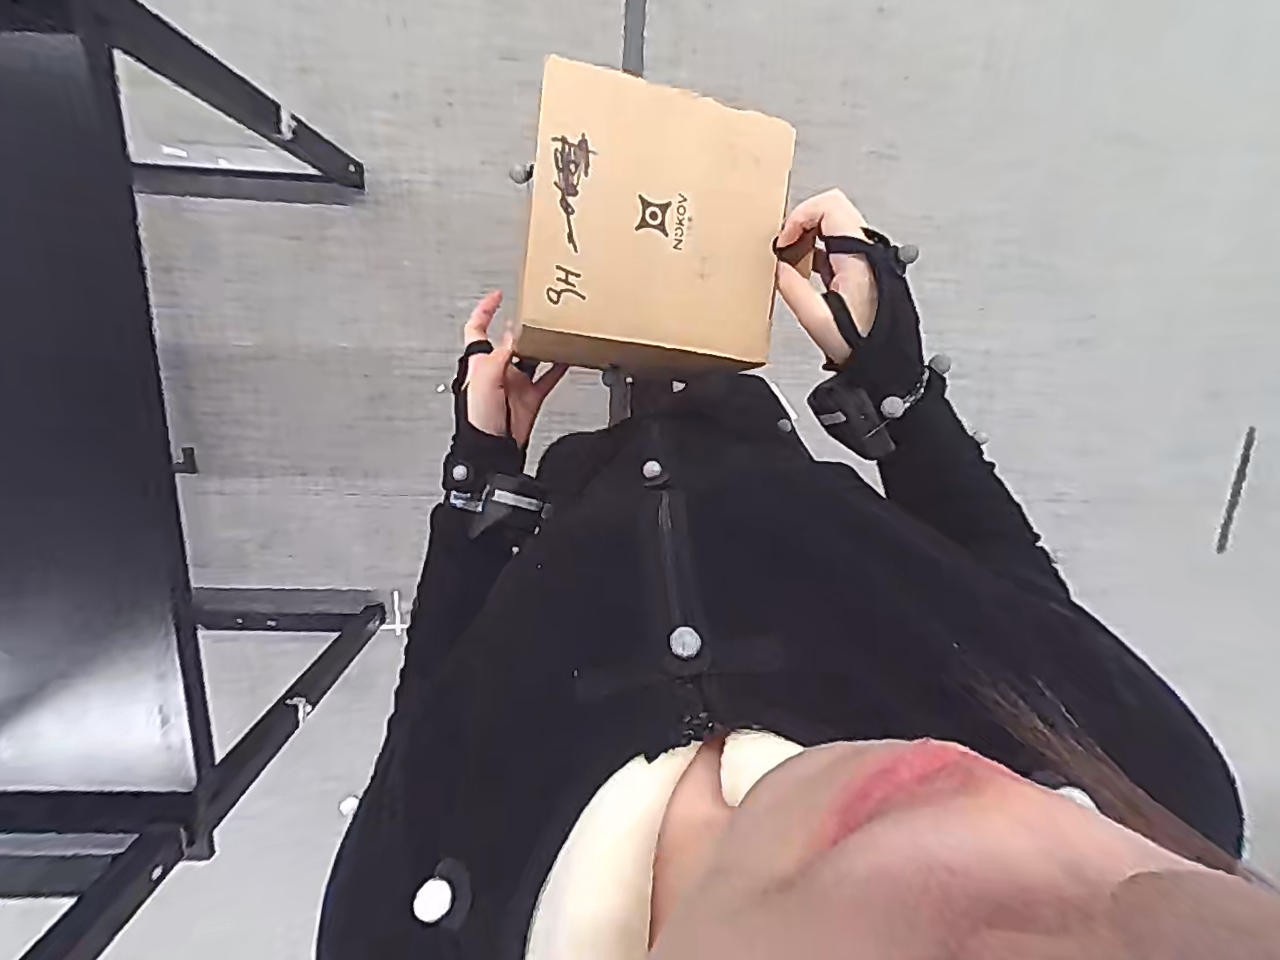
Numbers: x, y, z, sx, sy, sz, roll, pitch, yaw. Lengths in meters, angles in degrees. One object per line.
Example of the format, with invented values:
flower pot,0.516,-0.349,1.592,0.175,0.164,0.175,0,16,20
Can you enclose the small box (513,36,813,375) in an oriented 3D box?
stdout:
small box,0.003,-0.180,0.422,0.179,0.176,0.168,6,94,-17
